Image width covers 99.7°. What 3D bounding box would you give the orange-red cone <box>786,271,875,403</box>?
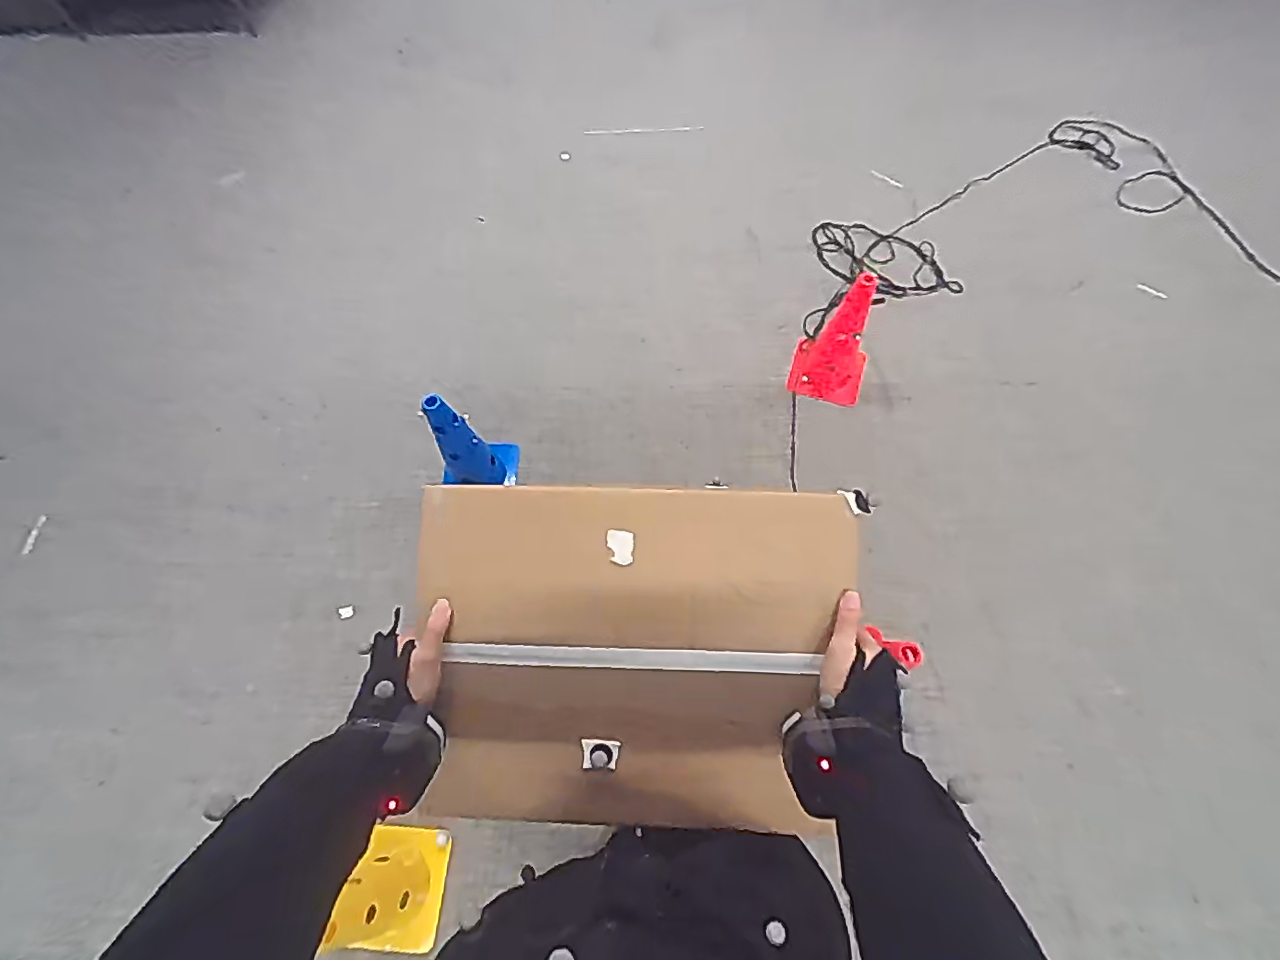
[{"bbox_3d":[0.528,-0.391,1.395,0.199,0.360,0.198,18,67,10],"label":"orange-red cone"}]

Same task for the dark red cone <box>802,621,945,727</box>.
[{"bbox_3d":[0.453,0.346,1.008,0.202,0.394,0.201,-7,66,-1],"label":"dark red cone"}]

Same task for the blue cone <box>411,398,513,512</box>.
[{"bbox_3d":[-0.447,-0.077,1.306,0.192,0.380,0.193,0,63,3],"label":"blue cone"}]
